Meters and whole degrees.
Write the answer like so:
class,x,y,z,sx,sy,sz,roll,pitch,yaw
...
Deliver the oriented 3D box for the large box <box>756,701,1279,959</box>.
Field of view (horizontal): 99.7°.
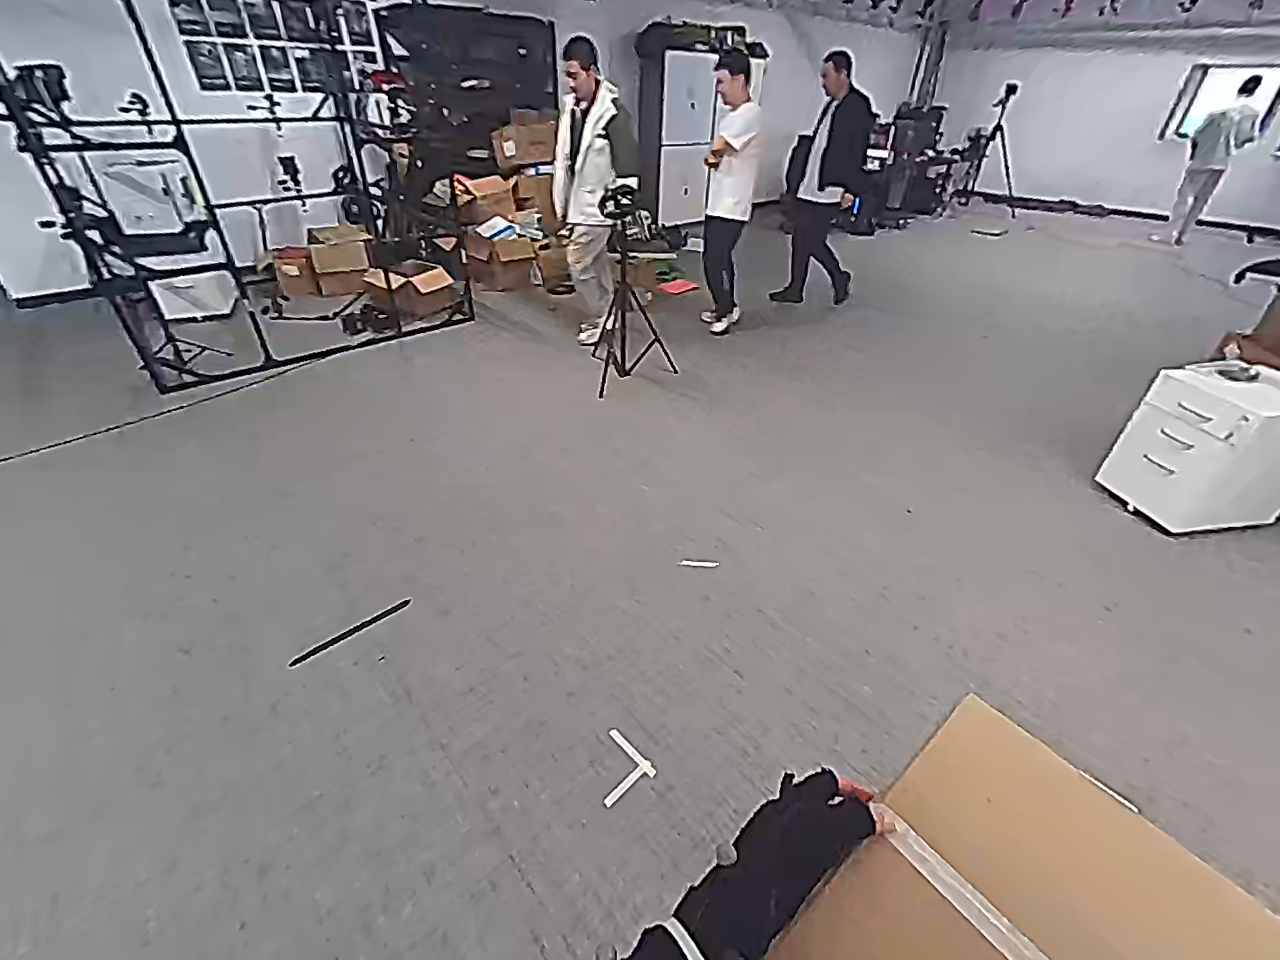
class,x,y,z,sx,sy,sz,roll,pitch,yaw
large box,0.337,0.488,0.451,0.320,0.320,0.408,-32,50,-24
